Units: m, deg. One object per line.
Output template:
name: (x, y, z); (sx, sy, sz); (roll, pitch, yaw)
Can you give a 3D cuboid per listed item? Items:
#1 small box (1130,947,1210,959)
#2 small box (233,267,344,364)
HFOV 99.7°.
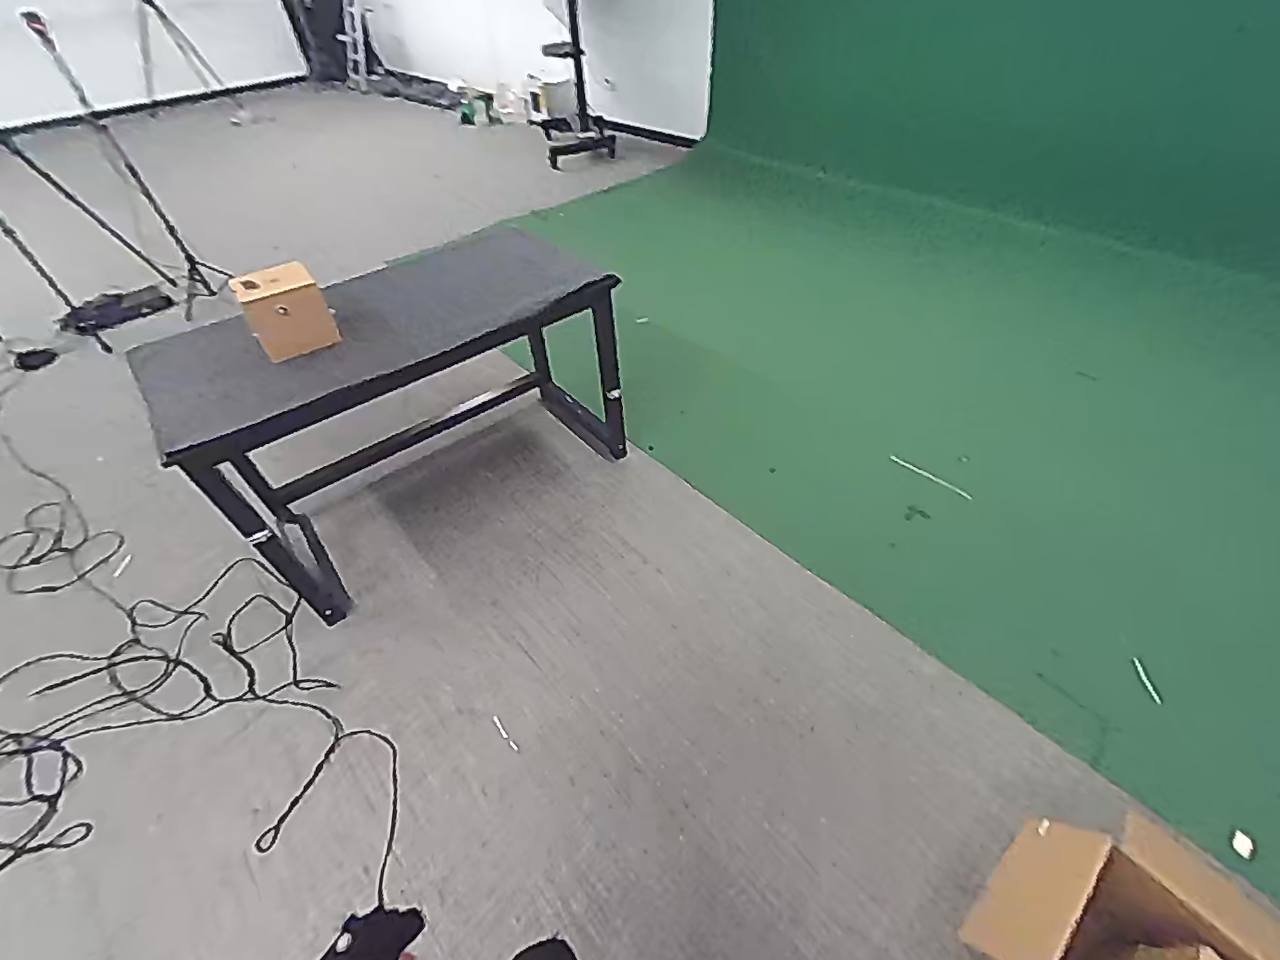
small box: (0.843, 0.860, 0.812); (0.179, 0.176, 0.168); (-31, 52, -24)
small box: (-0.916, -0.428, 1.415); (0.179, 0.176, 0.168); (-29, 51, -24)
